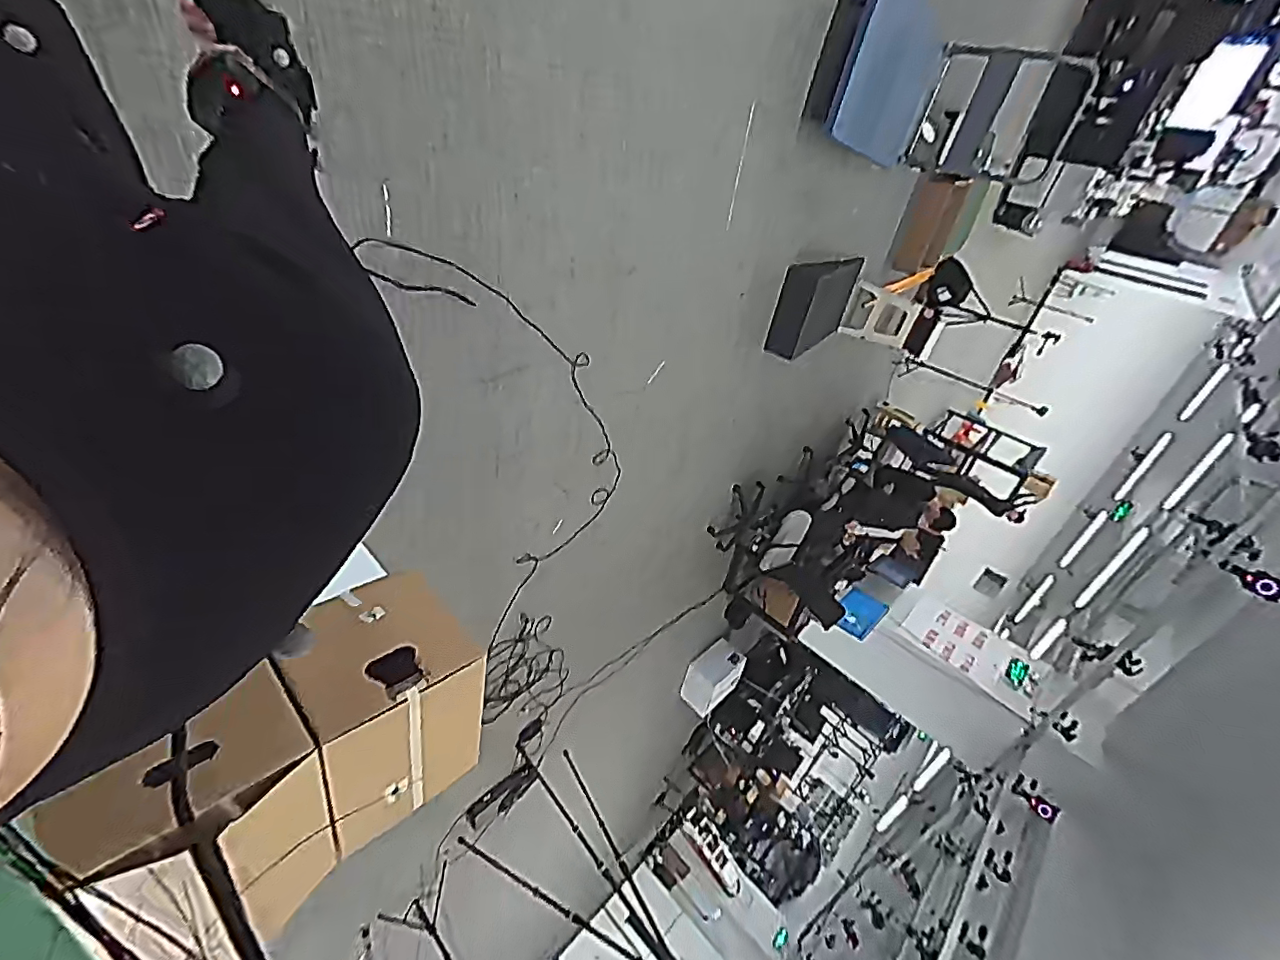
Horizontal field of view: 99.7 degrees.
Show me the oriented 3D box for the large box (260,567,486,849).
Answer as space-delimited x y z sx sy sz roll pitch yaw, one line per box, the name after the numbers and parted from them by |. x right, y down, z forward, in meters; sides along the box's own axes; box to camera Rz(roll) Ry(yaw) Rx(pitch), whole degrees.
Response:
-0.554 0.467 1.156 0.320 0.320 0.408 -21 136 -42 | large box
